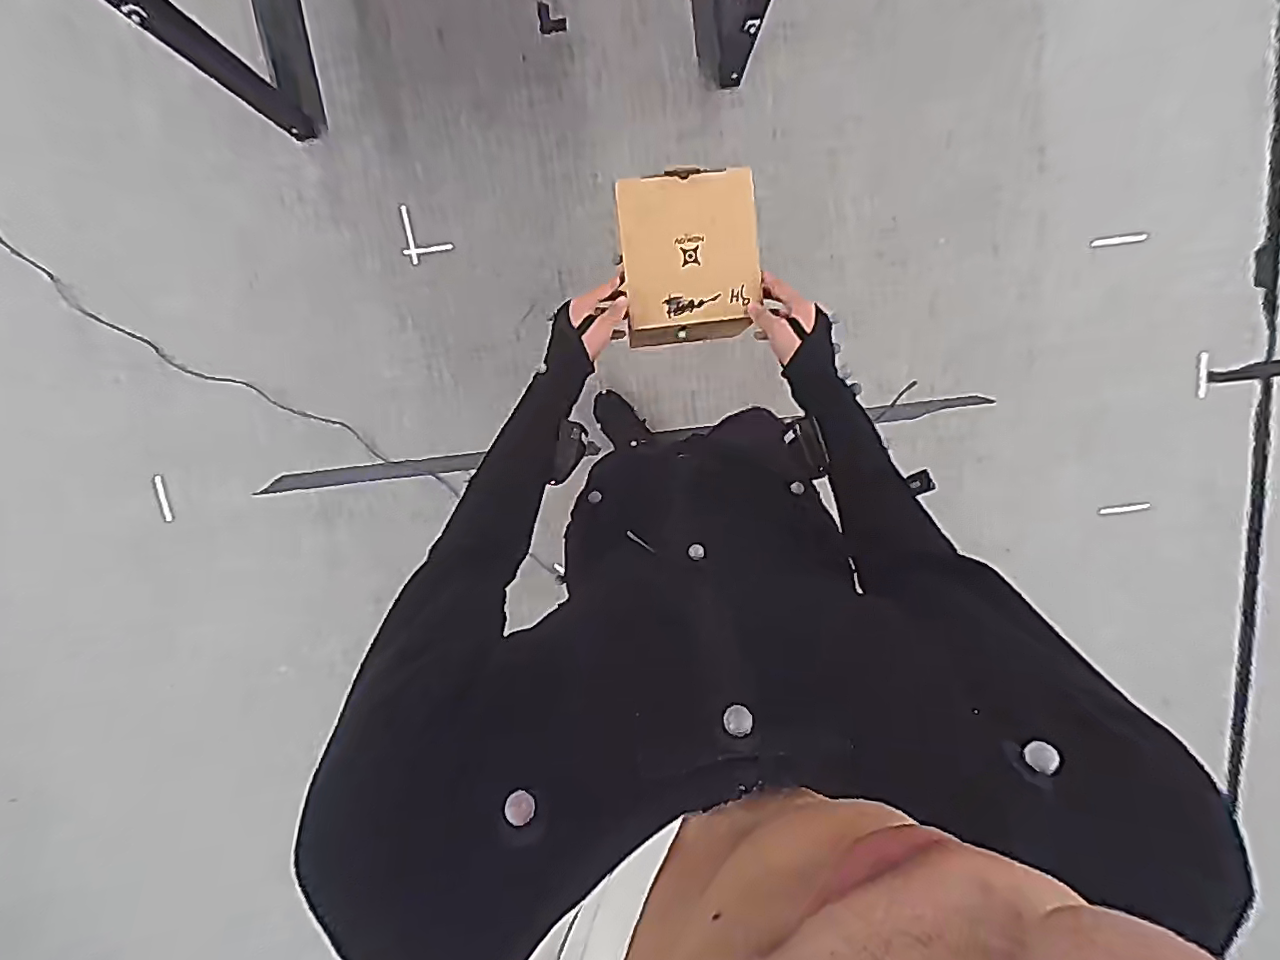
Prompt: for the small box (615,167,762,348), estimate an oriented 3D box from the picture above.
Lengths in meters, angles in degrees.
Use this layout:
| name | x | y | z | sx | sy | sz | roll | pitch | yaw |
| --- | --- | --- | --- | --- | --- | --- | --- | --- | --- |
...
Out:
| name | x | y | z | sx | sy | sz | roll | pitch | yaw |
| --- | --- | --- | --- | --- | --- | --- | --- | --- | --- |
| small box | 0.056 | -0.282 | 0.720 | 0.168 | 0.176 | 0.179 | -6 | 97 | -1 |
